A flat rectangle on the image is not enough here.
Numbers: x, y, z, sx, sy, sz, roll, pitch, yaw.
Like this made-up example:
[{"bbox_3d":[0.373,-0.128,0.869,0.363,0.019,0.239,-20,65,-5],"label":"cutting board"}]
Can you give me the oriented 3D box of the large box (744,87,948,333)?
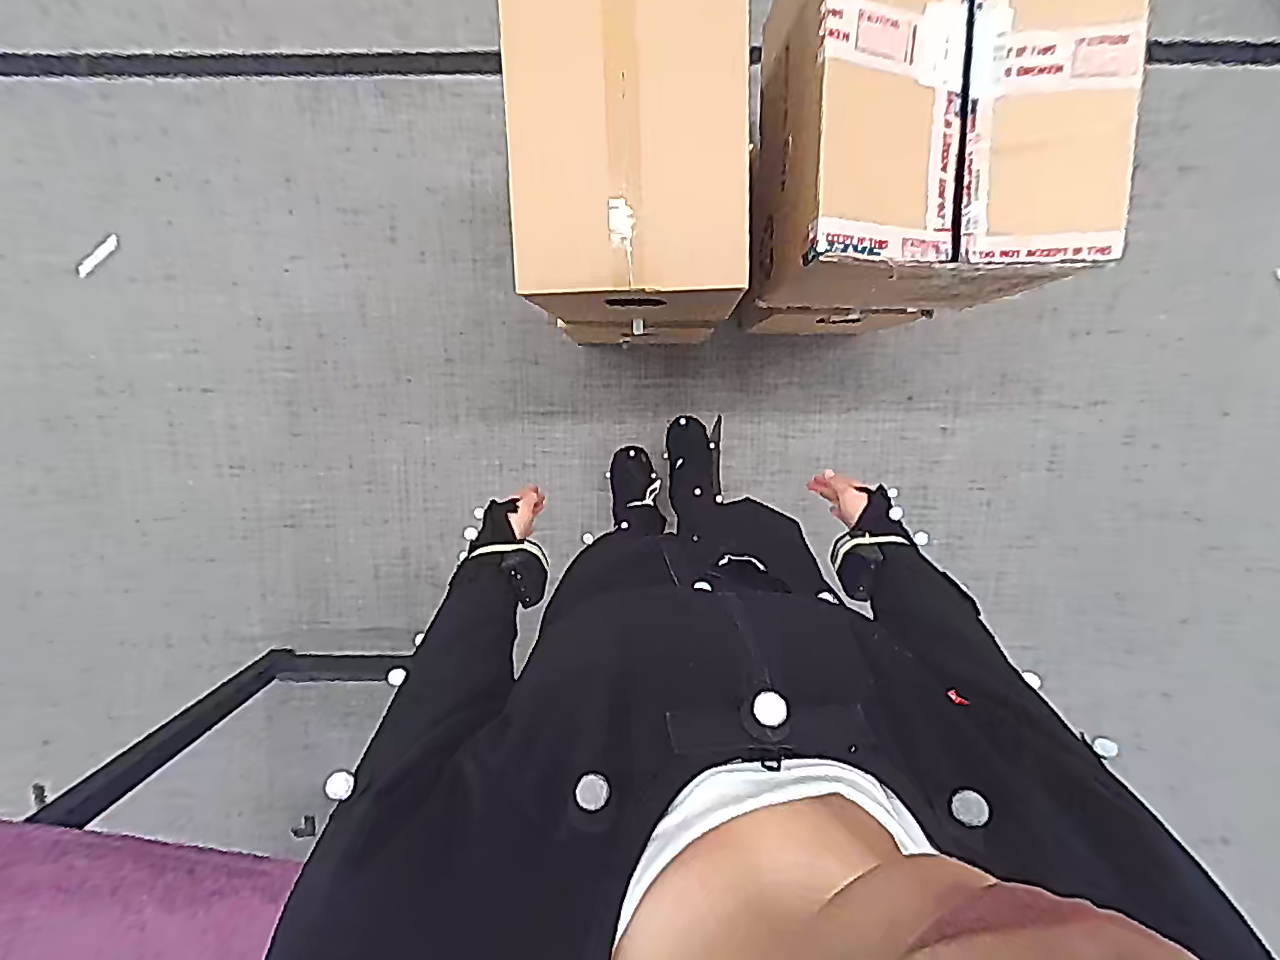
[{"bbox_3d":[0.408,-0.536,1.152,0.320,0.320,0.408,-1,99,0],"label":"large box"}]
